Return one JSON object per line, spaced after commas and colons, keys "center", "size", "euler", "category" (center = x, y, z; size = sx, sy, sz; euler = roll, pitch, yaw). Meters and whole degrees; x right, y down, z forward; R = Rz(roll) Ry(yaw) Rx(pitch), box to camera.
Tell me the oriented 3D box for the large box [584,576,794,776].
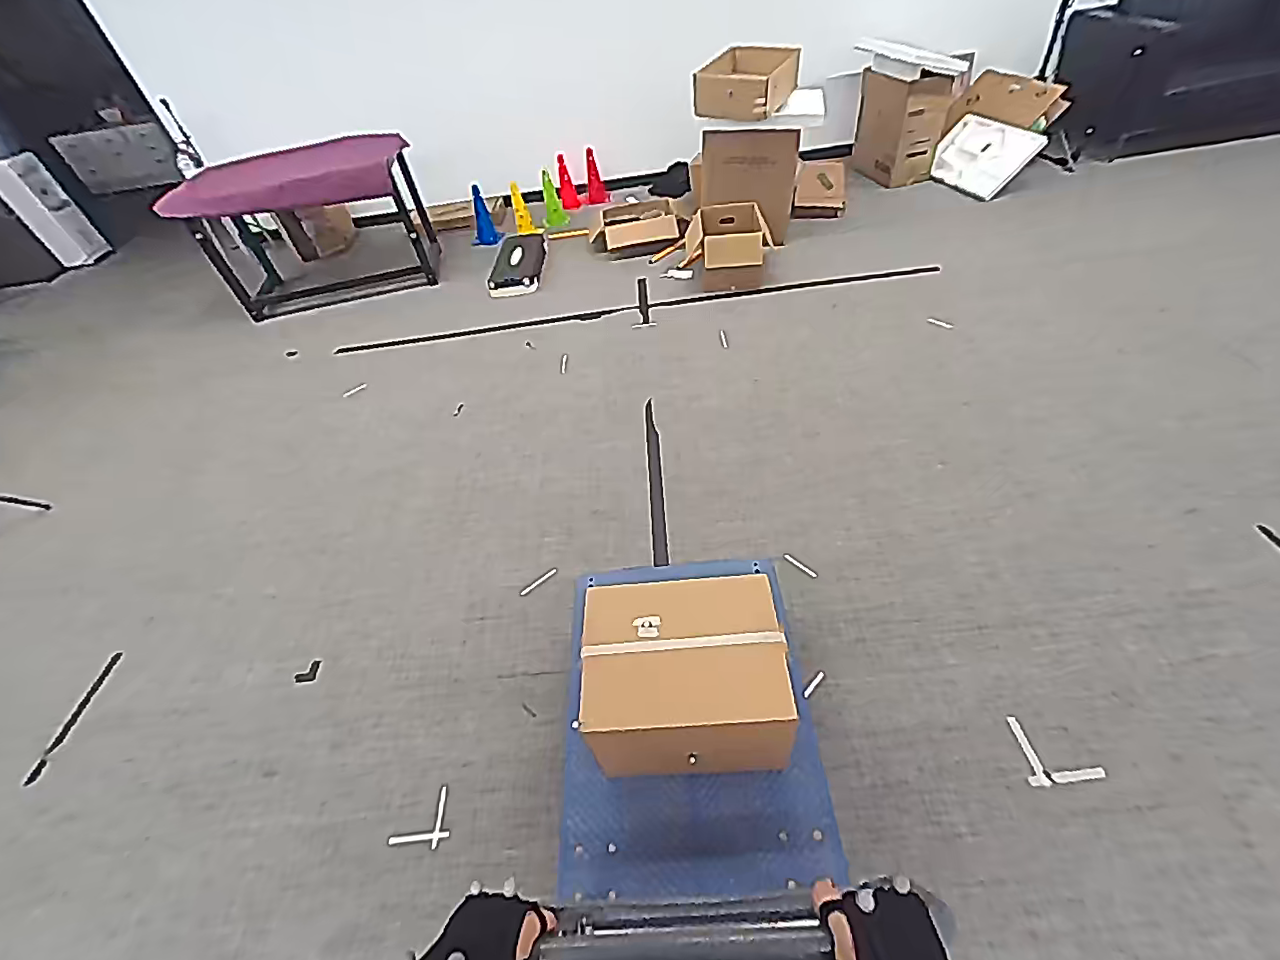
{"center": [0.105, 0.449, 1.220], "size": [0.408, 0.320, 0.320], "euler": [-7, 45, 5], "category": "large box"}
